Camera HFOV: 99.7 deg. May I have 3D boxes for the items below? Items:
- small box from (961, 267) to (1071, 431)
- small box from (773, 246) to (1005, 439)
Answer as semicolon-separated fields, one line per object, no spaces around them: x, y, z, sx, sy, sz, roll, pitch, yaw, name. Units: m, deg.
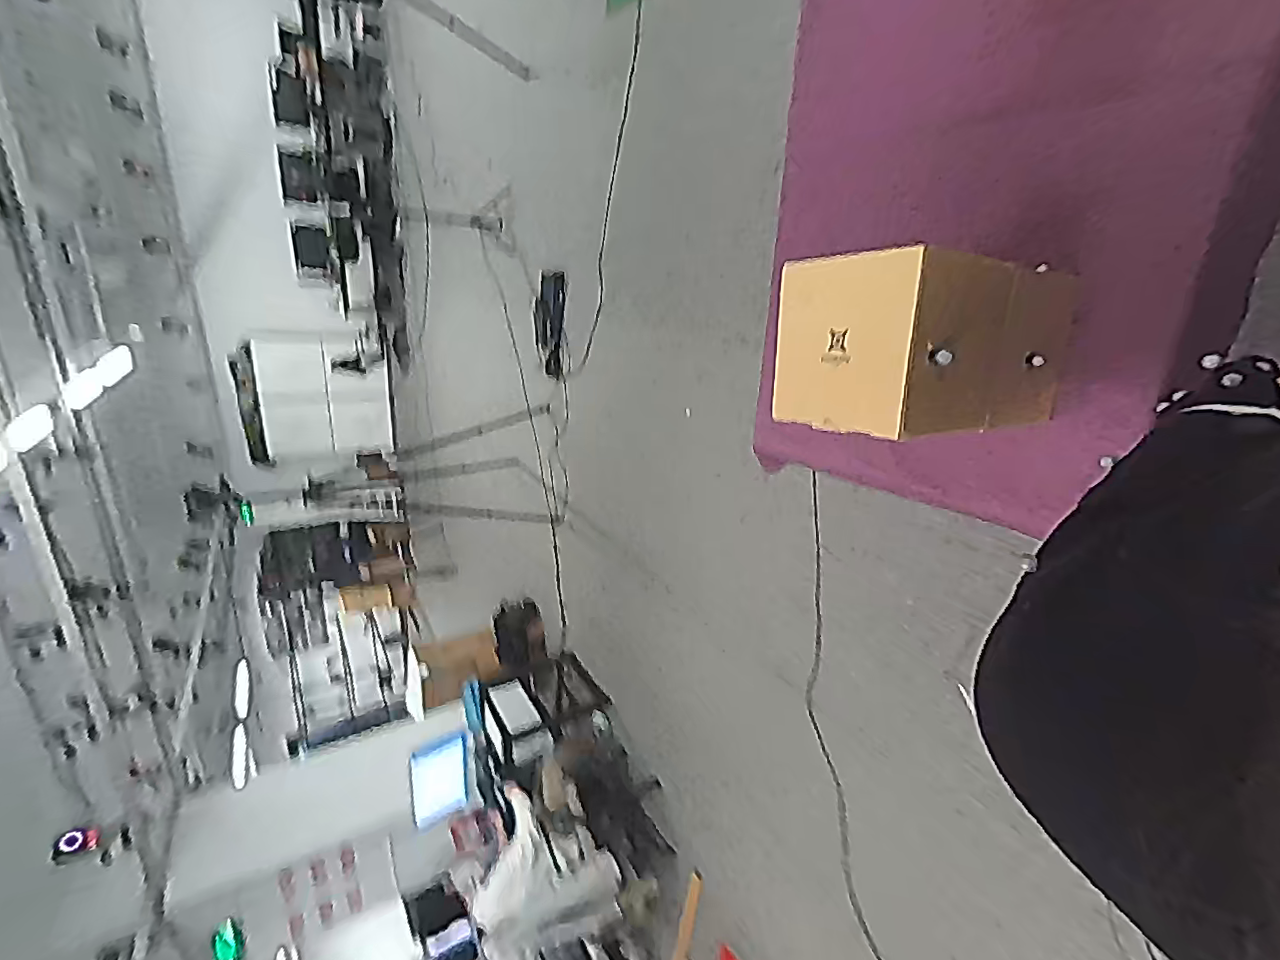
0.410;-0.168;0.689;0.168;0.176;0.179;24;118;54;small box
0.273;-0.151;0.603;0.168;0.176;0.179;22;116;55;small box
